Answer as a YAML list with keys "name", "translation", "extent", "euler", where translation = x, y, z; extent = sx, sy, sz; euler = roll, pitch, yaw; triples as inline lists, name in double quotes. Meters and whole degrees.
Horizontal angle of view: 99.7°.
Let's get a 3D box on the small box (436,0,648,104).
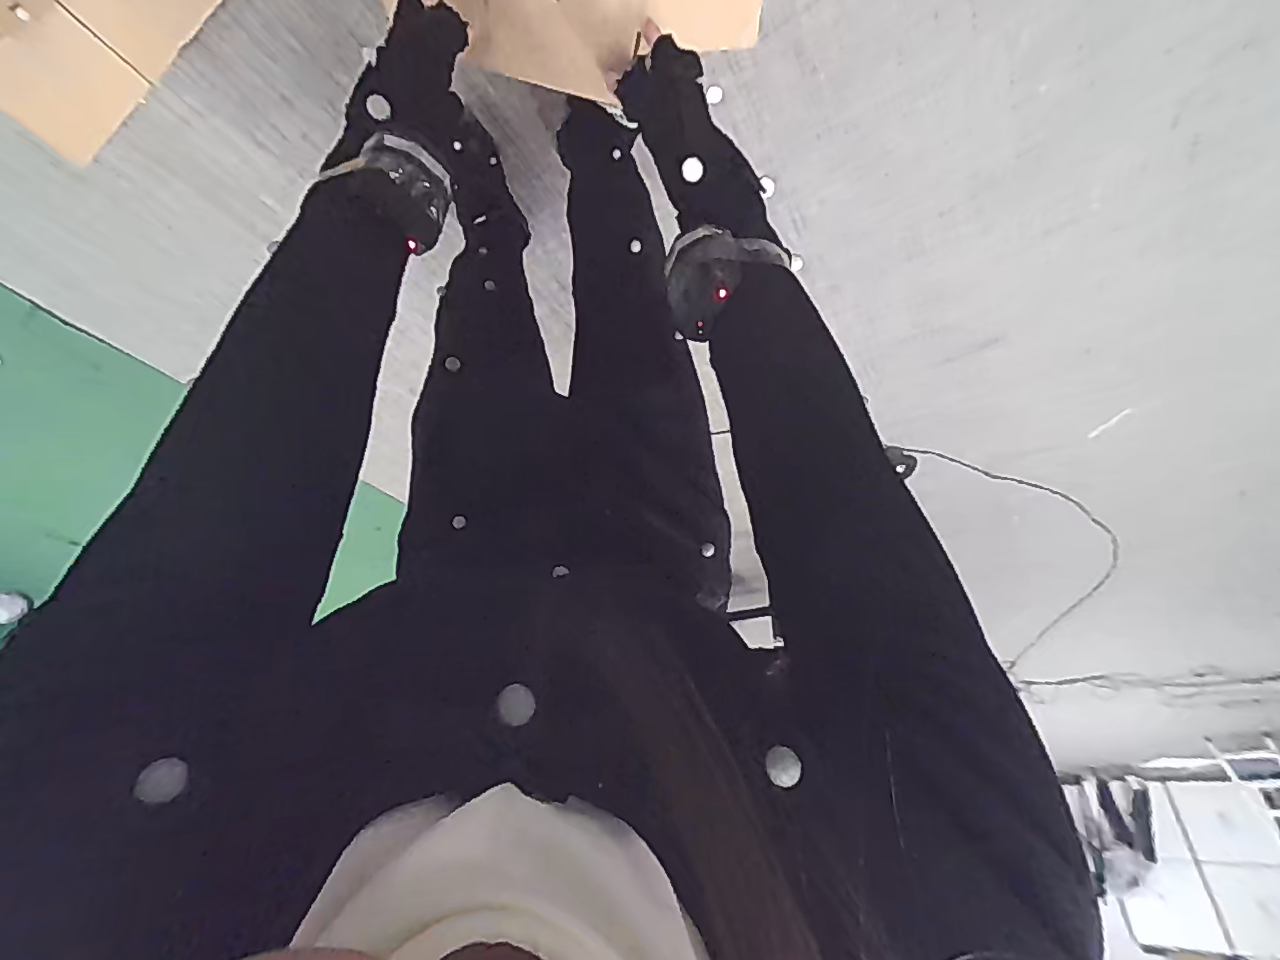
- name: "small box"
  translation: [-0.074, -0.478, 0.477]
  extent: [0.179, 0.176, 0.168]
  euler: [10, 145, -8]
